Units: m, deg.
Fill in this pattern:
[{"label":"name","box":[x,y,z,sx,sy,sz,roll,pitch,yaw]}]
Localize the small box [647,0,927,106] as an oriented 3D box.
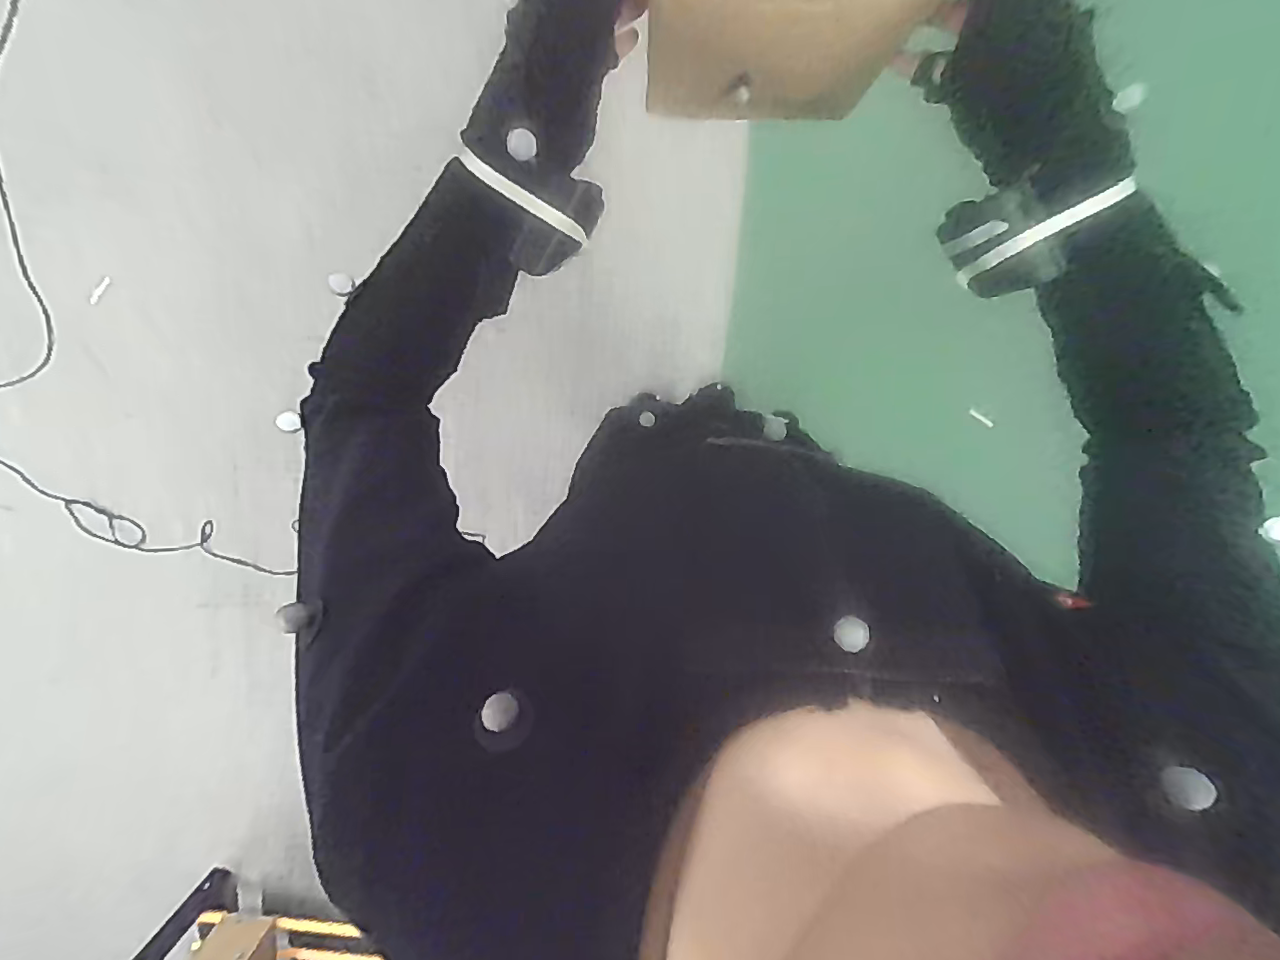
[{"label":"small box","box":[0.089,-0.374,0.340,0.168,0.176,0.179,0,101,1]}]
